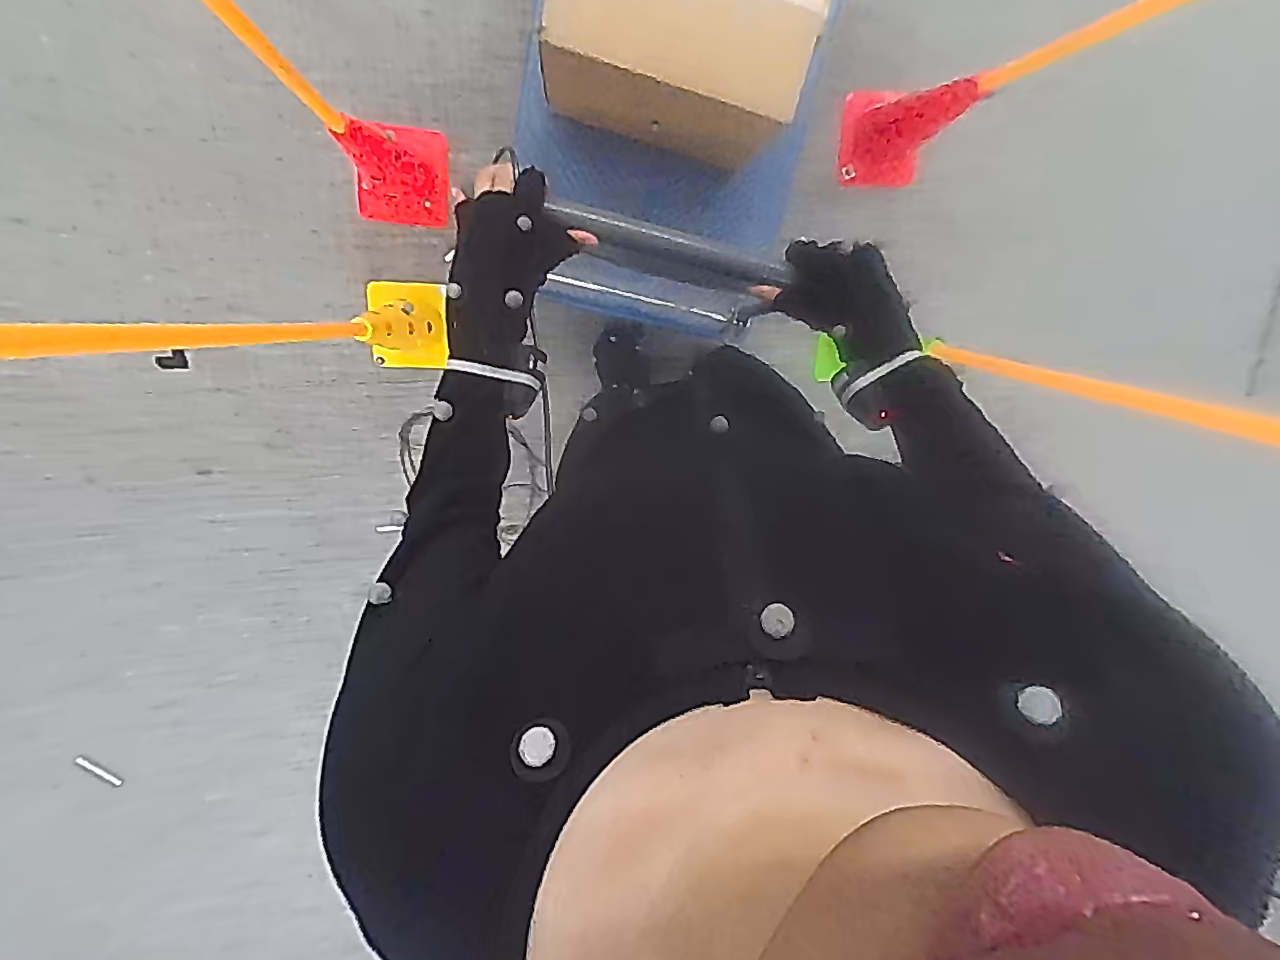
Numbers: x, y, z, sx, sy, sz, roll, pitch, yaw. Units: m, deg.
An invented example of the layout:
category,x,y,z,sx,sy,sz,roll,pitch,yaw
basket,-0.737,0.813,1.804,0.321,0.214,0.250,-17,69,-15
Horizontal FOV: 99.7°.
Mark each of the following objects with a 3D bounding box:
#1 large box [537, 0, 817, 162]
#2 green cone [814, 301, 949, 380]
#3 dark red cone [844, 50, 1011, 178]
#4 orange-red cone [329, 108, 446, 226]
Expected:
category,x,y,z,sx,sy,sz,roll,pitch,yaw
large box,0.060,-0.796,0.927,0.408,0.320,0.320,11,105,-10
green cone,0.592,-0.323,1.285,0.202,0.368,0.200,0,107,-8
dark red cone,0.604,-0.782,1.129,0.201,0.394,0.202,-4,108,-8
orange-red cone,-0.520,-0.645,1.058,0.198,0.360,0.199,4,105,-9
